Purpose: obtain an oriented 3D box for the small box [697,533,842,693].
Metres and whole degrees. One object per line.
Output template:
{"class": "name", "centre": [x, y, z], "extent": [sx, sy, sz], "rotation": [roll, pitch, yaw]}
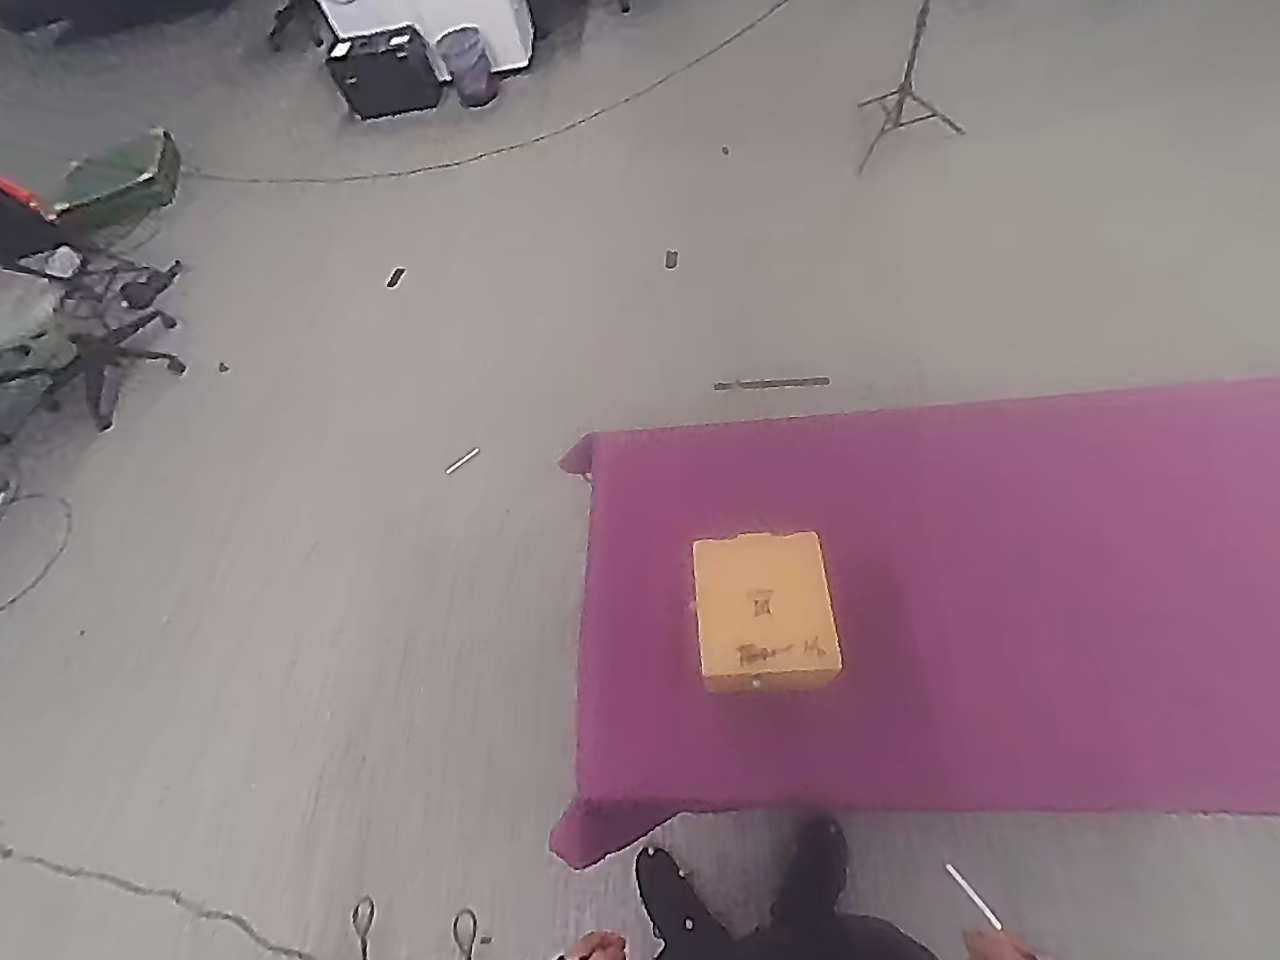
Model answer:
{"class": "small box", "centre": [0.168, 0.190, 0.748], "extent": [0.168, 0.176, 0.179], "rotation": [-5, 61, 8]}
